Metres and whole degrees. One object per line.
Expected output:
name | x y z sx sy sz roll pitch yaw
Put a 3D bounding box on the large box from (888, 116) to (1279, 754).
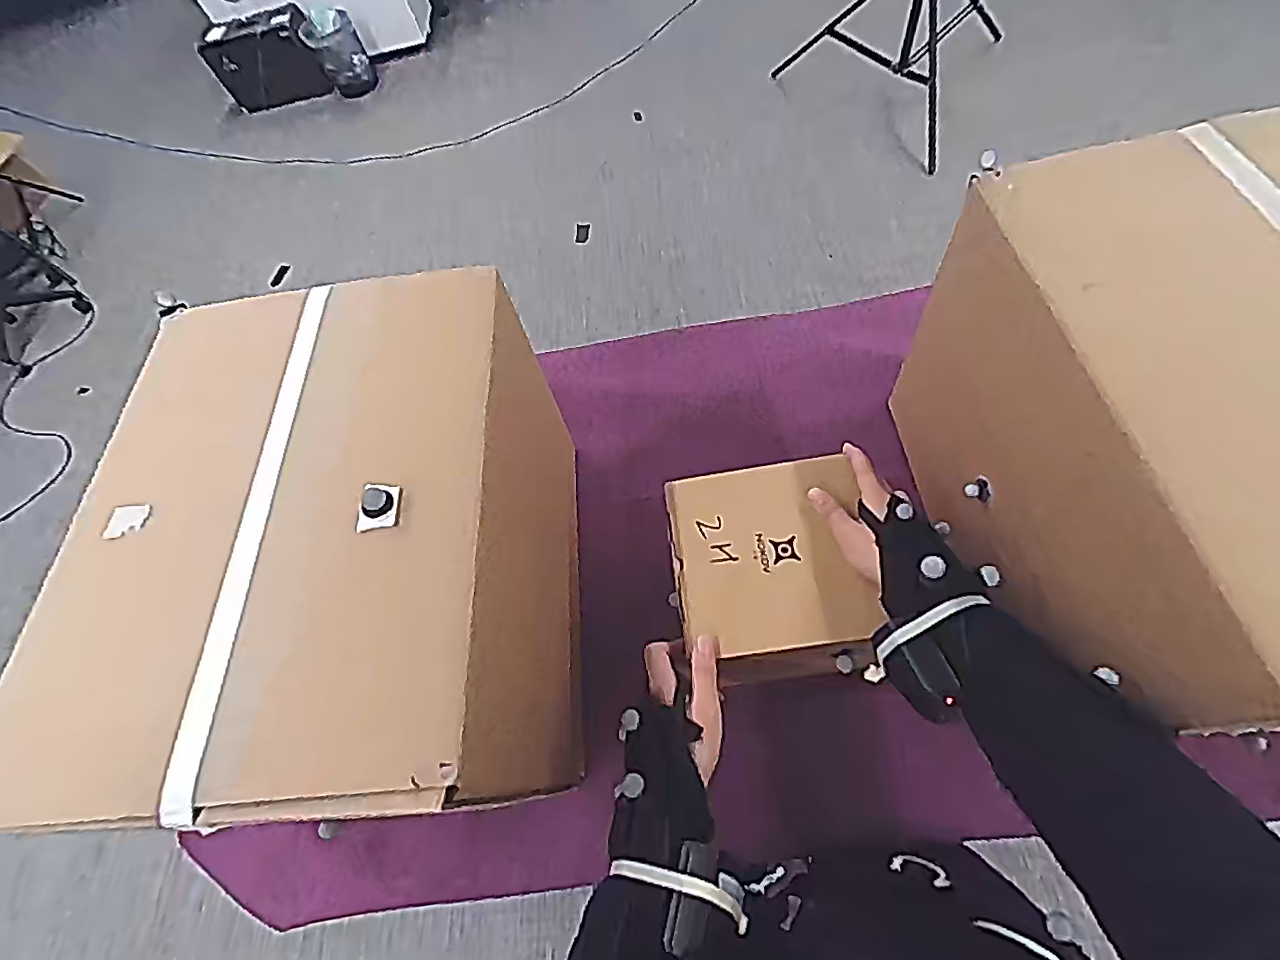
large box | 0.450 -0.017 0.447 0.320 0.320 0.408 -8 60 5
